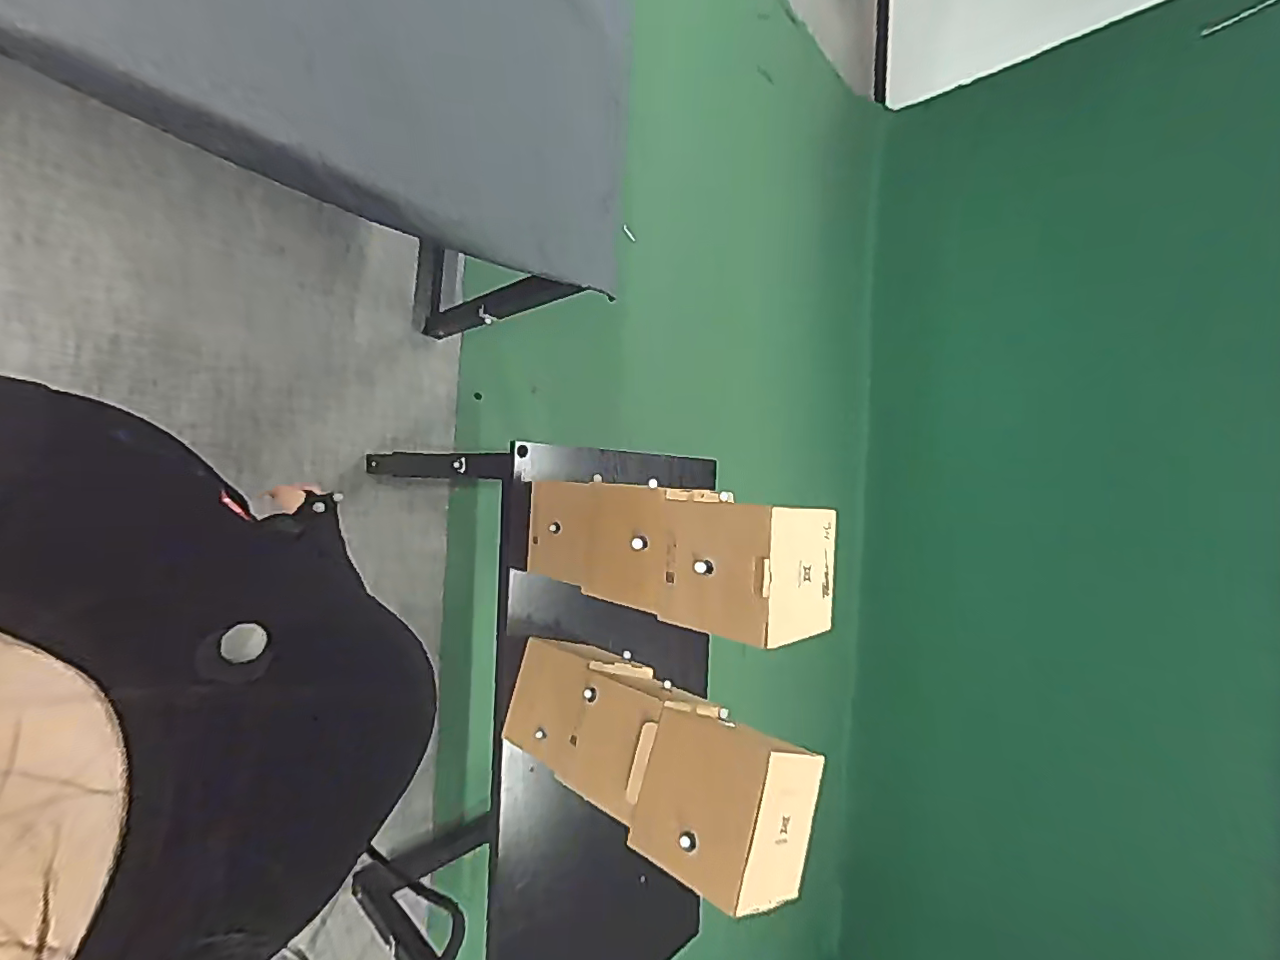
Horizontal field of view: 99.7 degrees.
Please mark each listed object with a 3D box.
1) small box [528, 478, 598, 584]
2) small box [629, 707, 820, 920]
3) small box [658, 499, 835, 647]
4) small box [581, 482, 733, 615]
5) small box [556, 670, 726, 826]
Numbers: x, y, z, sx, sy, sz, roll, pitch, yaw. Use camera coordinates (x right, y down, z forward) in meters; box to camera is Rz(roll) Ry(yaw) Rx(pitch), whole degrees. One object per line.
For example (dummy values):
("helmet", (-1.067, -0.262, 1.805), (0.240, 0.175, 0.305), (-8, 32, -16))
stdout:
("small box", (-0.082, 0.085, 0.963), (0.179, 0.176, 0.168), (4, 91, -47))
("small box", (0.108, 0.420, 0.709), (0.168, 0.176, 0.179), (32, 69, -44))
("small box", (0.141, 0.114, 0.725), (0.179, 0.176, 0.168), (5, 88, -45))
("small box", (0.024, 0.097, 0.840), (0.168, 0.176, 0.179), (4, 89, -46))
("small box", (0.000, 0.402, 0.831), (0.179, 0.176, 0.168), (29, 72, -44))
